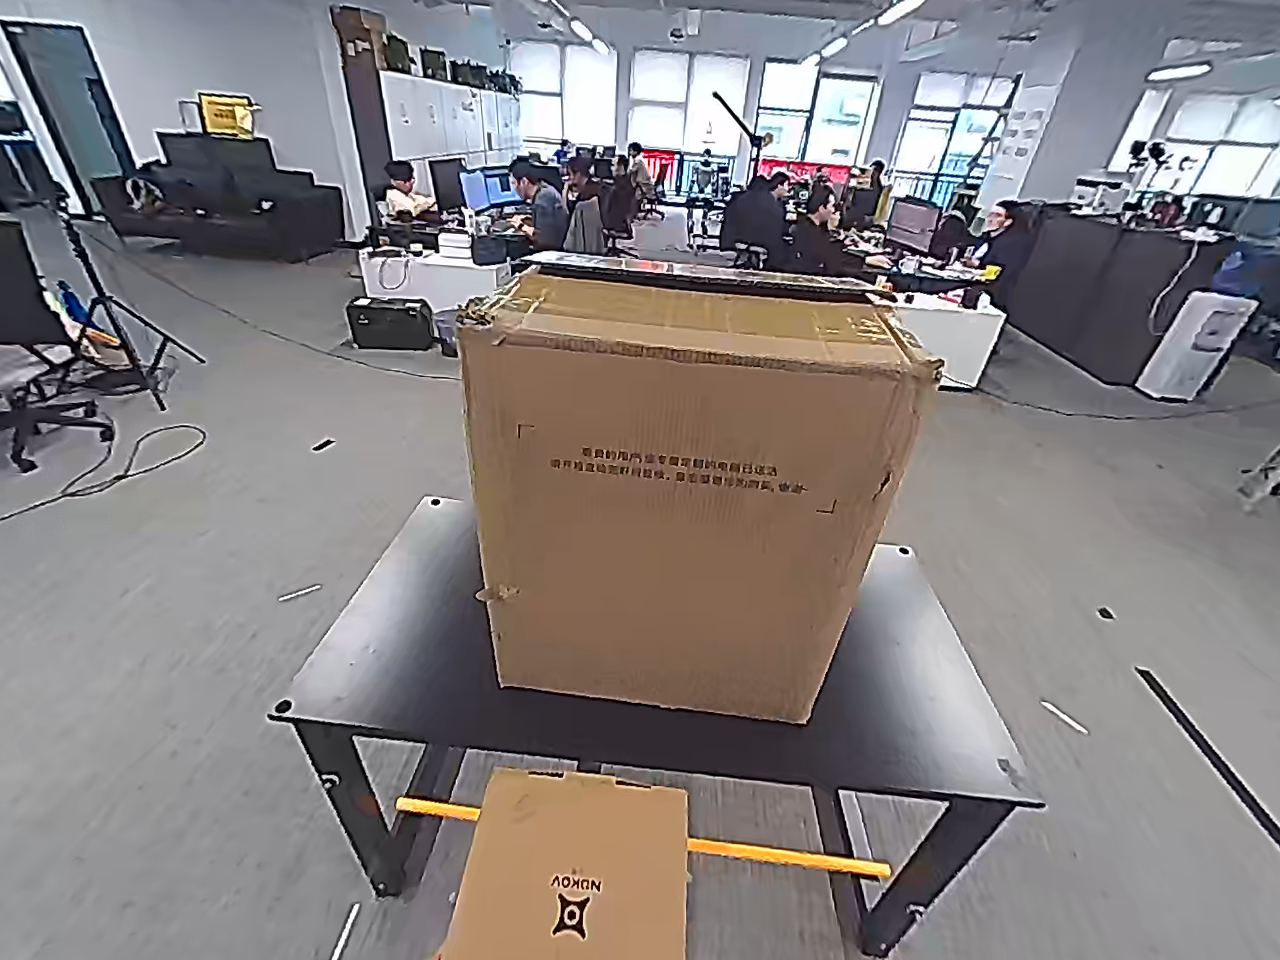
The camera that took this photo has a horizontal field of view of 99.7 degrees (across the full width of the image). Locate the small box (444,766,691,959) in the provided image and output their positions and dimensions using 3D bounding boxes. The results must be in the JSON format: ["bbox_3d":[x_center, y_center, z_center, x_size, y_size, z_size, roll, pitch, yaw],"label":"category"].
[{"bbox_3d":[-0.054,0.363,0.435,0.168,0.176,0.179,7,42,0],"label":"small box"}]
